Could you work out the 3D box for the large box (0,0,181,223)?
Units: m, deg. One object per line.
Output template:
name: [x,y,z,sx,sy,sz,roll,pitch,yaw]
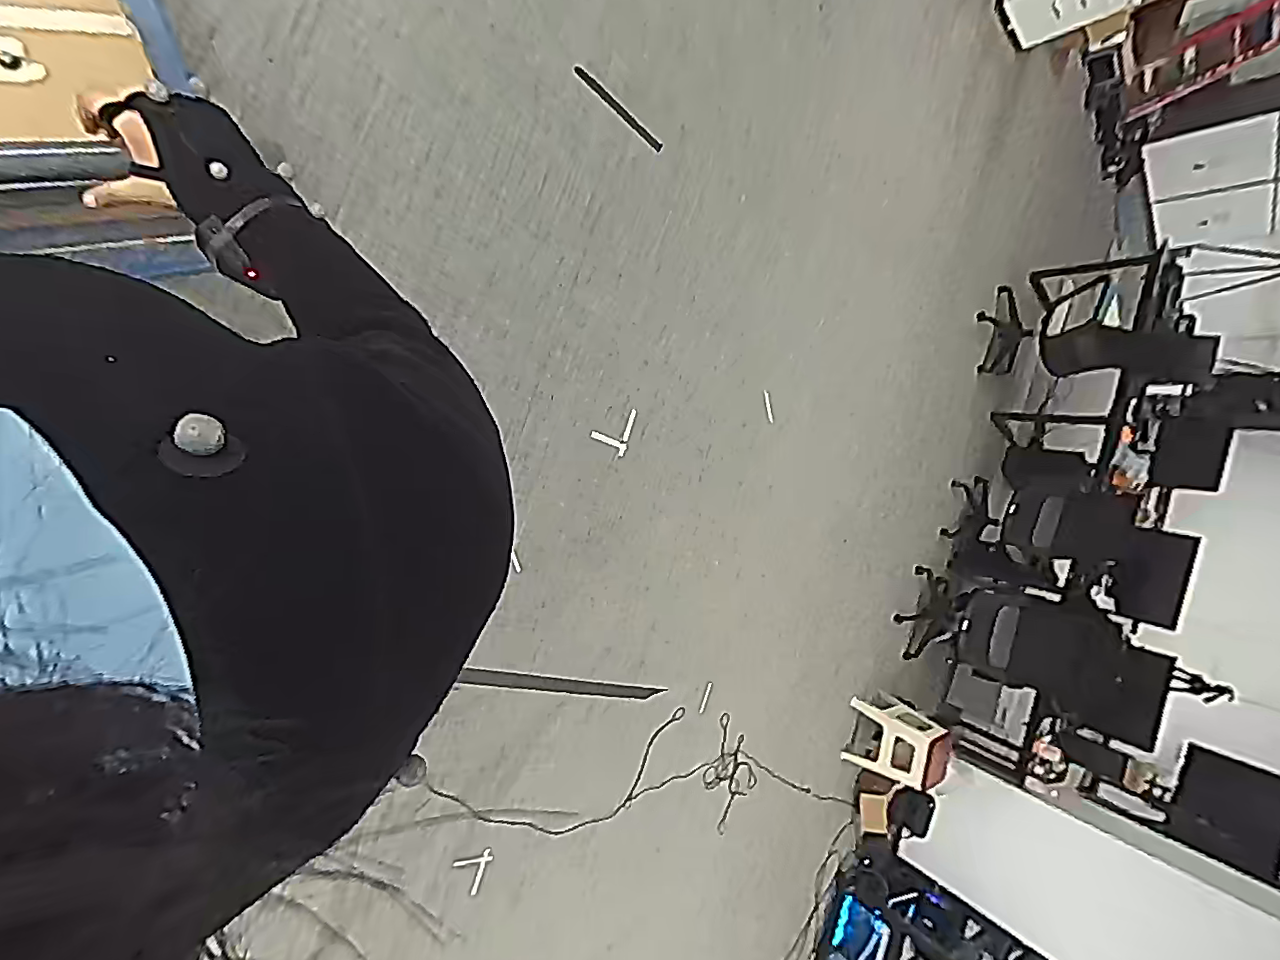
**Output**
large box: [-0.919,-0.539,0.709,0.408,0.320,0.320,-27,115,-35]
